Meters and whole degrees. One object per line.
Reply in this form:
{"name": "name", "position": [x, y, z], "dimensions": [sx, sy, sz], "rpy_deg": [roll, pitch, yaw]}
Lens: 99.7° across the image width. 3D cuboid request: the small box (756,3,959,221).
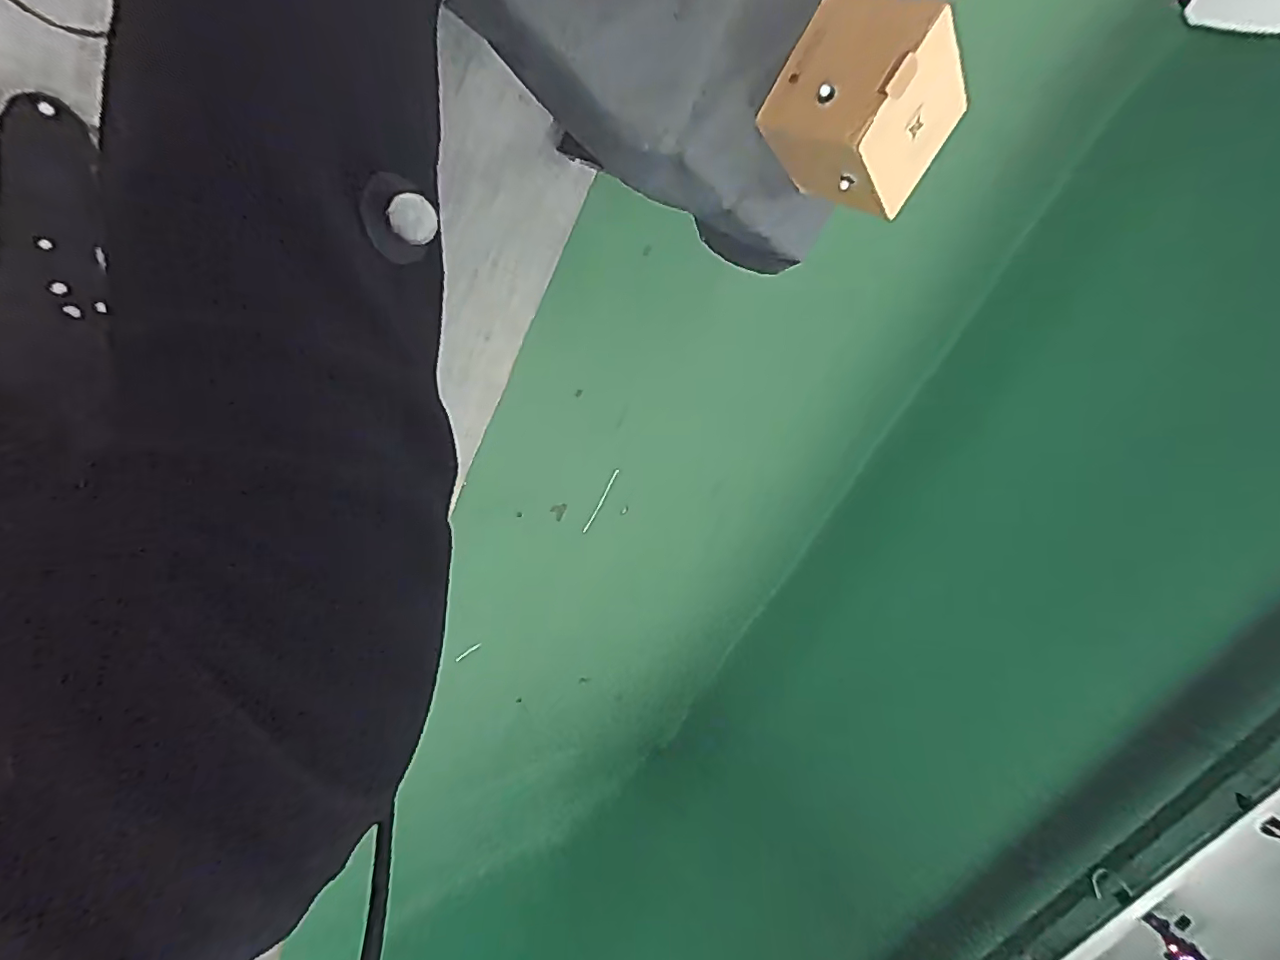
{"name": "small box", "position": [0.286, -0.485, 0.722], "dimensions": [0.179, 0.176, 0.168], "rpy_deg": [13, 114, -53]}
